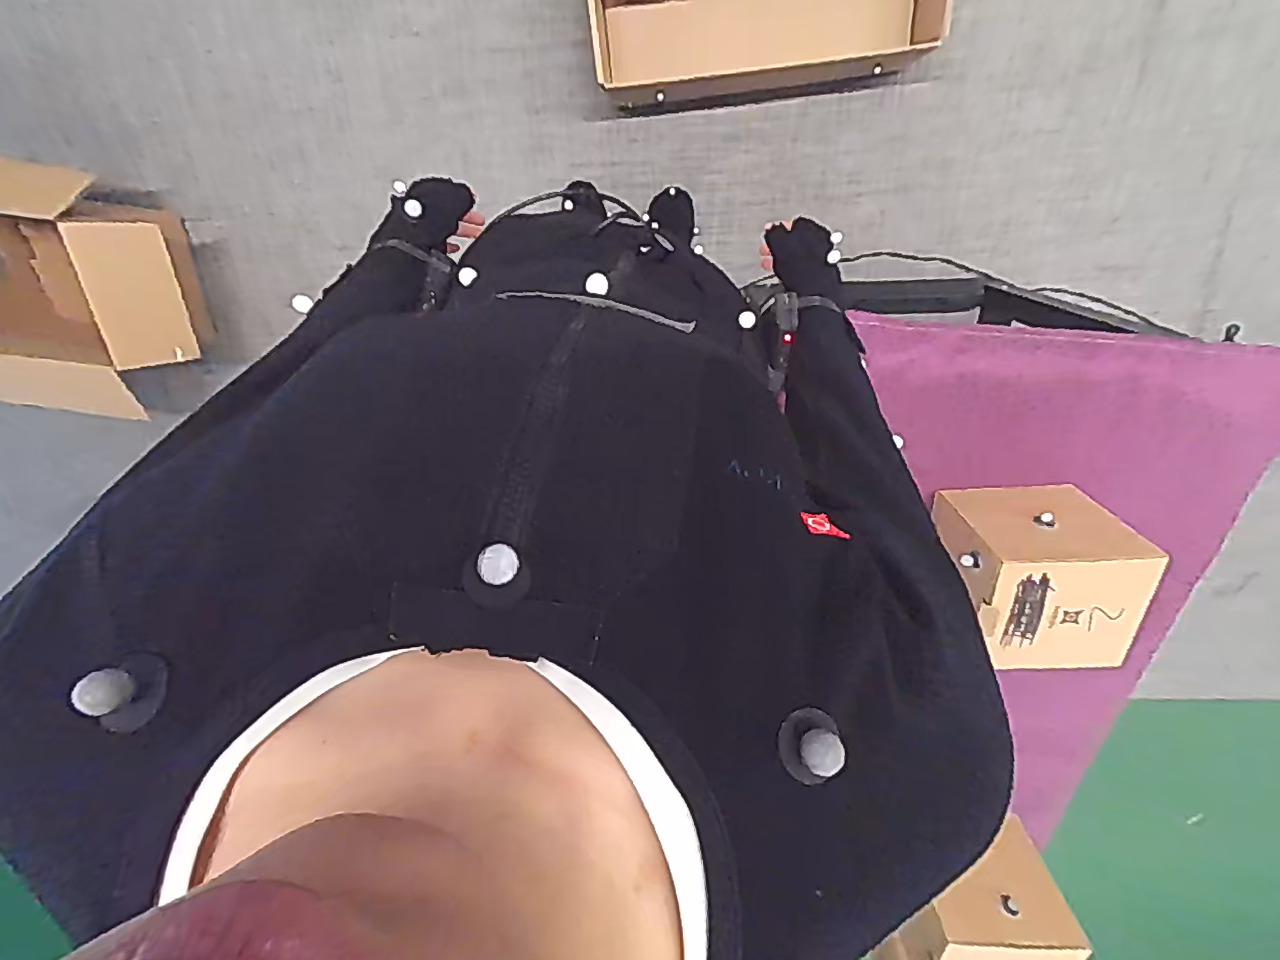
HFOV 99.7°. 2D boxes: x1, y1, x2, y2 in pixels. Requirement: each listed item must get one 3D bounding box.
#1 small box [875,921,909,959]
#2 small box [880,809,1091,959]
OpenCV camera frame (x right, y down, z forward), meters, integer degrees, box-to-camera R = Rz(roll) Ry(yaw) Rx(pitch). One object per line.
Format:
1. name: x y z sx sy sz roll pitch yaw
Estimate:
1. small box: 0.518 0.872 0.913 0.179 0.176 0.168 0 119 4
2. small box: 0.471 0.599 0.771 0.179 0.176 0.168 0 117 3
